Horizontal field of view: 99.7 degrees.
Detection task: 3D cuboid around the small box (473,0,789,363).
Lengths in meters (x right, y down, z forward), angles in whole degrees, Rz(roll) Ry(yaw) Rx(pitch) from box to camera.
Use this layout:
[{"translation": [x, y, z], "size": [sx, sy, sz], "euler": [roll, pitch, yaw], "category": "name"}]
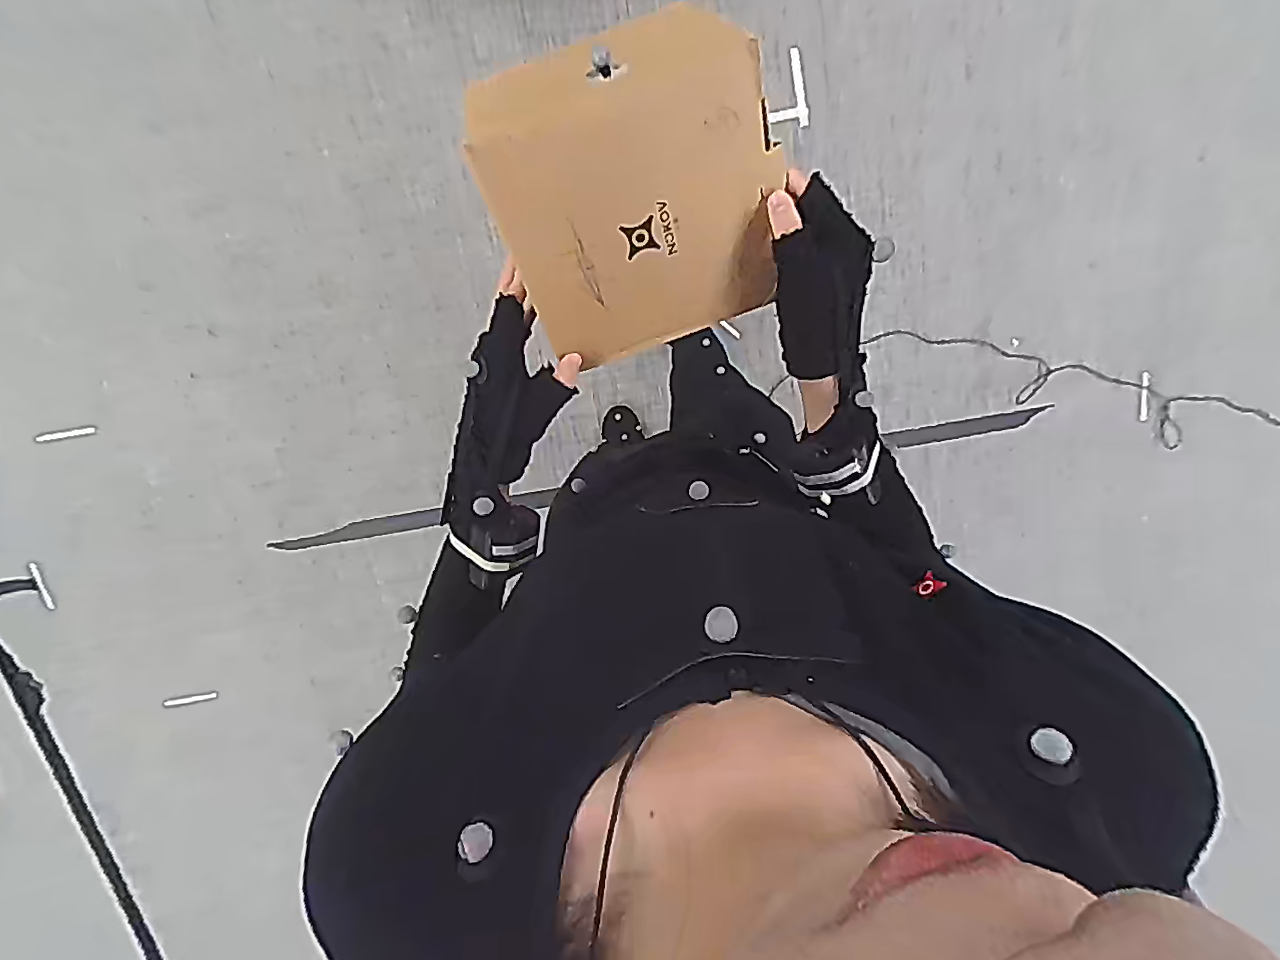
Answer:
[{"translation": [-0.009, -0.223, 0.400], "size": [0.179, 0.176, 0.168], "euler": [-19, 136, 3], "category": "small box"}]
